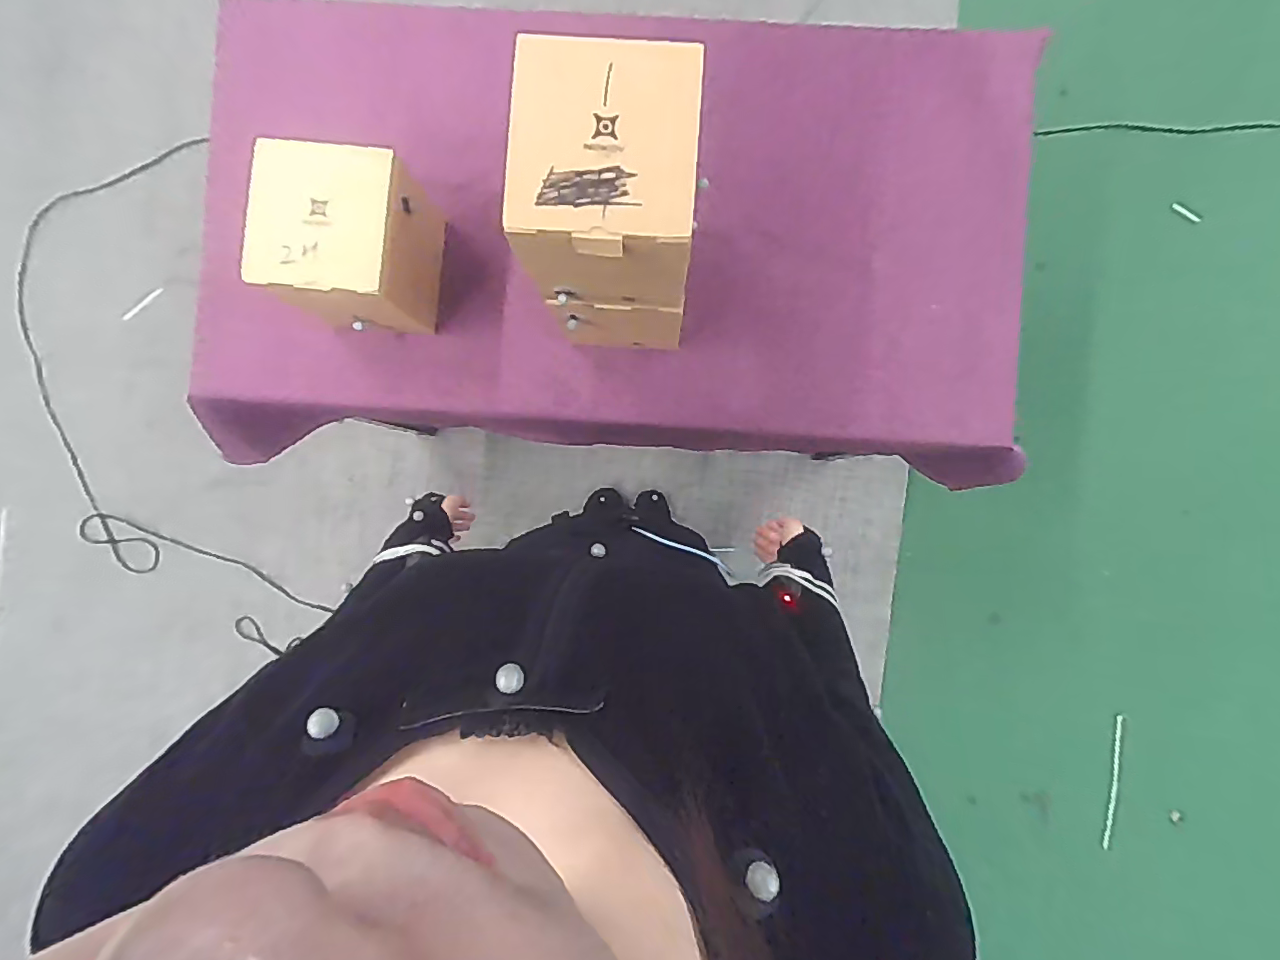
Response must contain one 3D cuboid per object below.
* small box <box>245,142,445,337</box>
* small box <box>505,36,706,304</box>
[{"bbox_3d":[-0.373,-0.305,0.715,0.168,0.176,0.179,5,89,1],"label":"small box"},{"bbox_3d":[-0.028,-0.291,0.545,0.168,0.176,0.179,4,87,1],"label":"small box"}]
